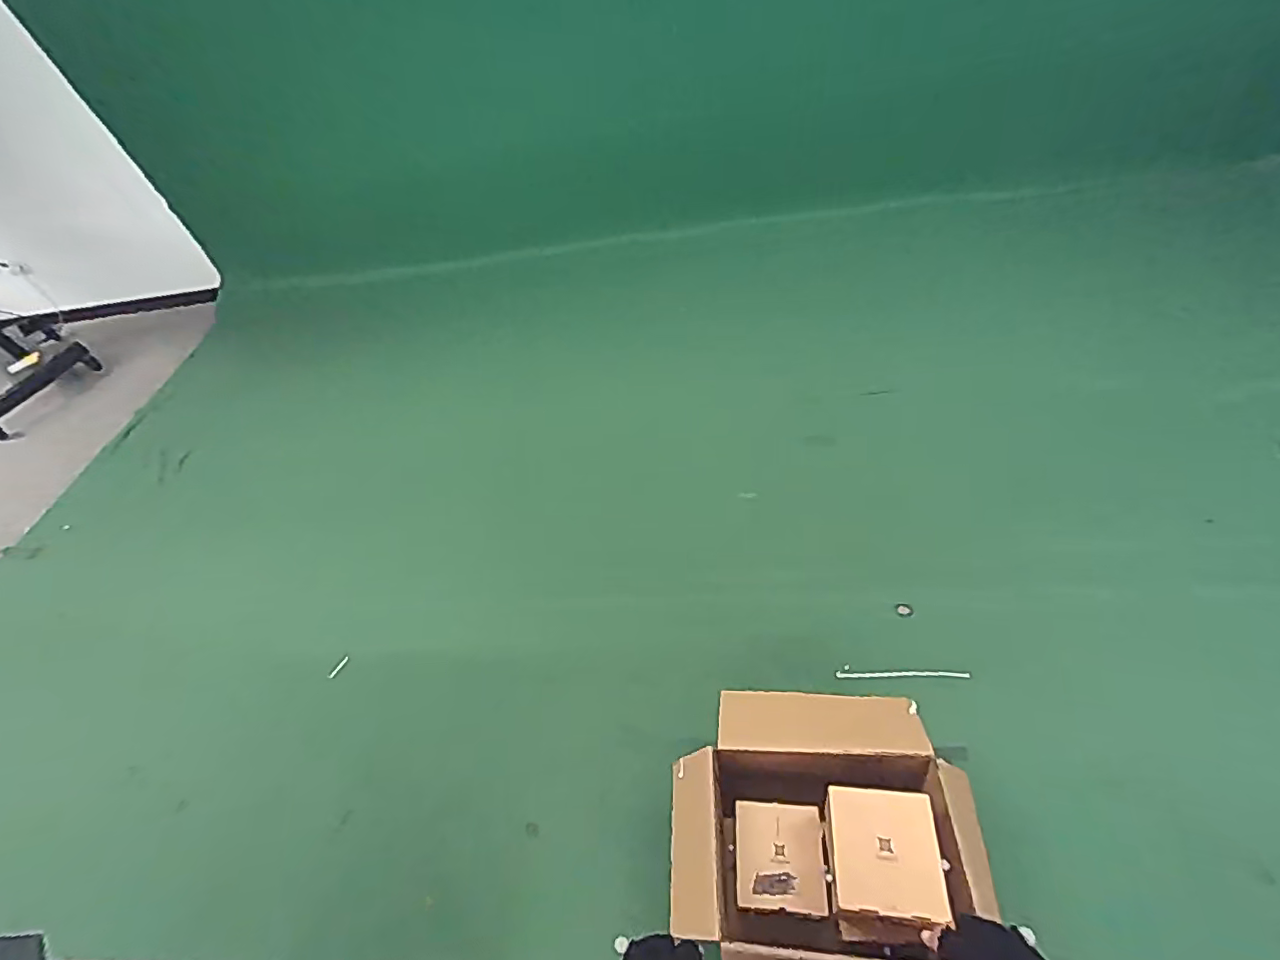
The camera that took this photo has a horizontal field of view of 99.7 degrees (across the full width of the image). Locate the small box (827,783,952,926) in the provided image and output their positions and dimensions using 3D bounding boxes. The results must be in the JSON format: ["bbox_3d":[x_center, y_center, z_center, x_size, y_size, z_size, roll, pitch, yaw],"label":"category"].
[{"bbox_3d":[0.424,0.657,0.950,0.168,0.176,0.179,-3,48,15],"label":"small box"}]
